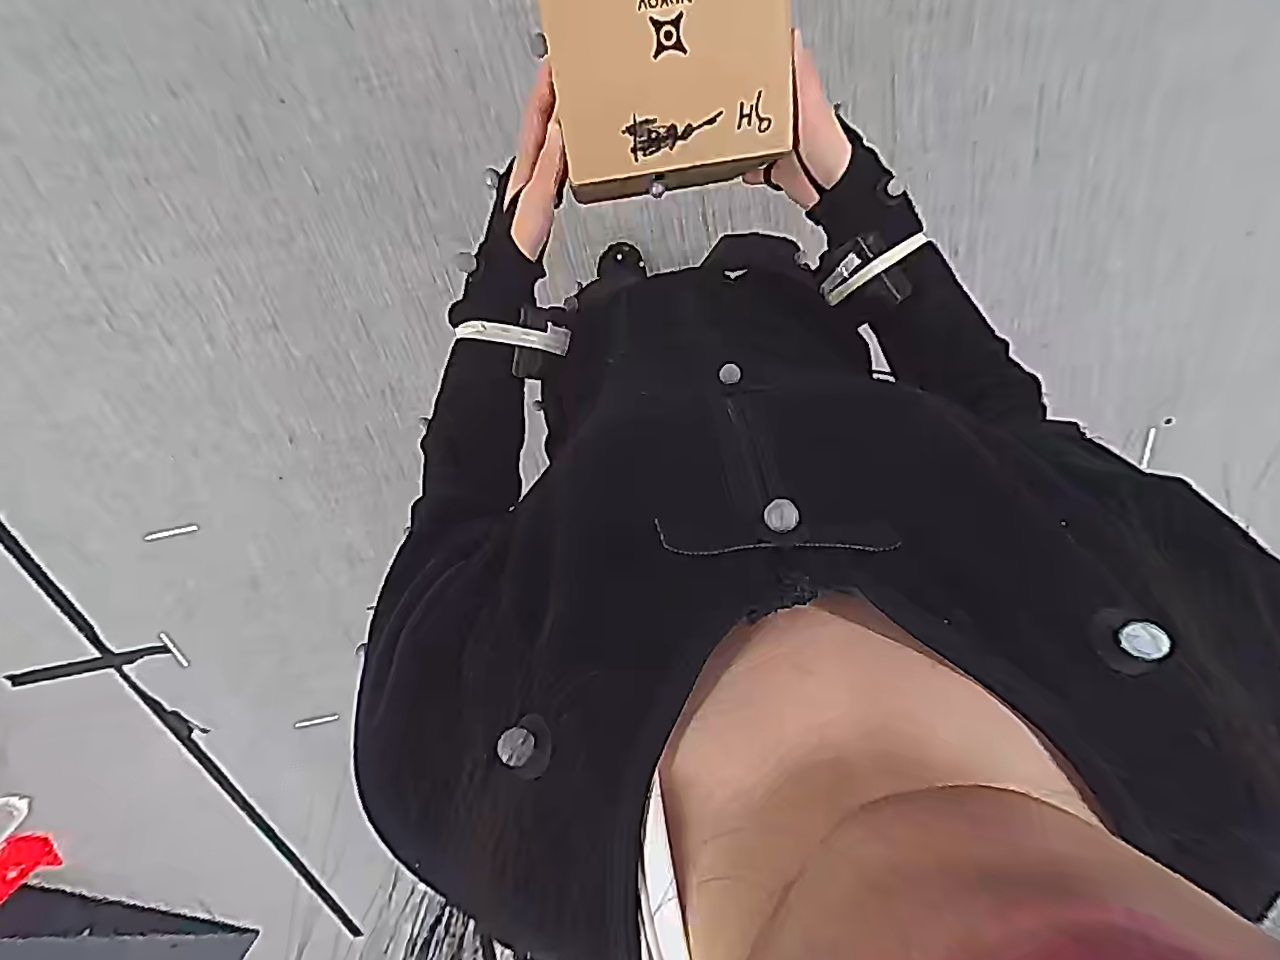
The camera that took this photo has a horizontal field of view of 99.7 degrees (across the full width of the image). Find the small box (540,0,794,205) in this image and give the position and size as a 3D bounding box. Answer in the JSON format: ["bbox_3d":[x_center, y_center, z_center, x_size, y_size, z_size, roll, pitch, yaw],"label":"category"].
[{"bbox_3d":[0.012,-0.332,0.430,0.168,0.176,0.179,-10,113,-1],"label":"small box"}]

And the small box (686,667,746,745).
[{"bbox_3d":[0.267,0.798,1.914,0.168,0.176,0.179,-13,116,1],"label":"small box"}]
